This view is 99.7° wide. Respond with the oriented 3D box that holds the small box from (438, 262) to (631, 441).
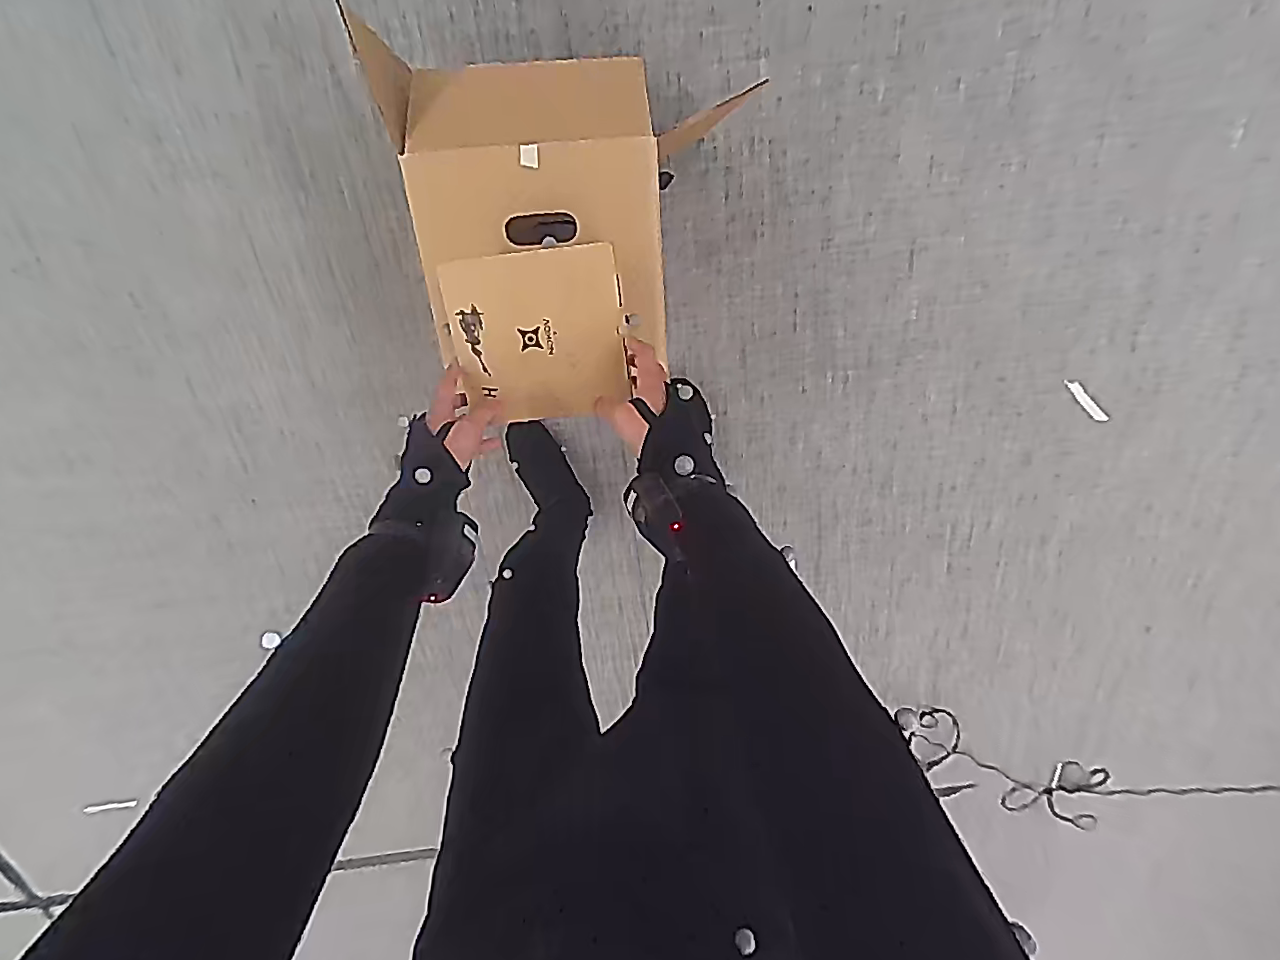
[{"bbox_3d":[-0.106,-0.156,0.627,0.179,0.176,0.168,-6,112,1],"label":"small box"}]
